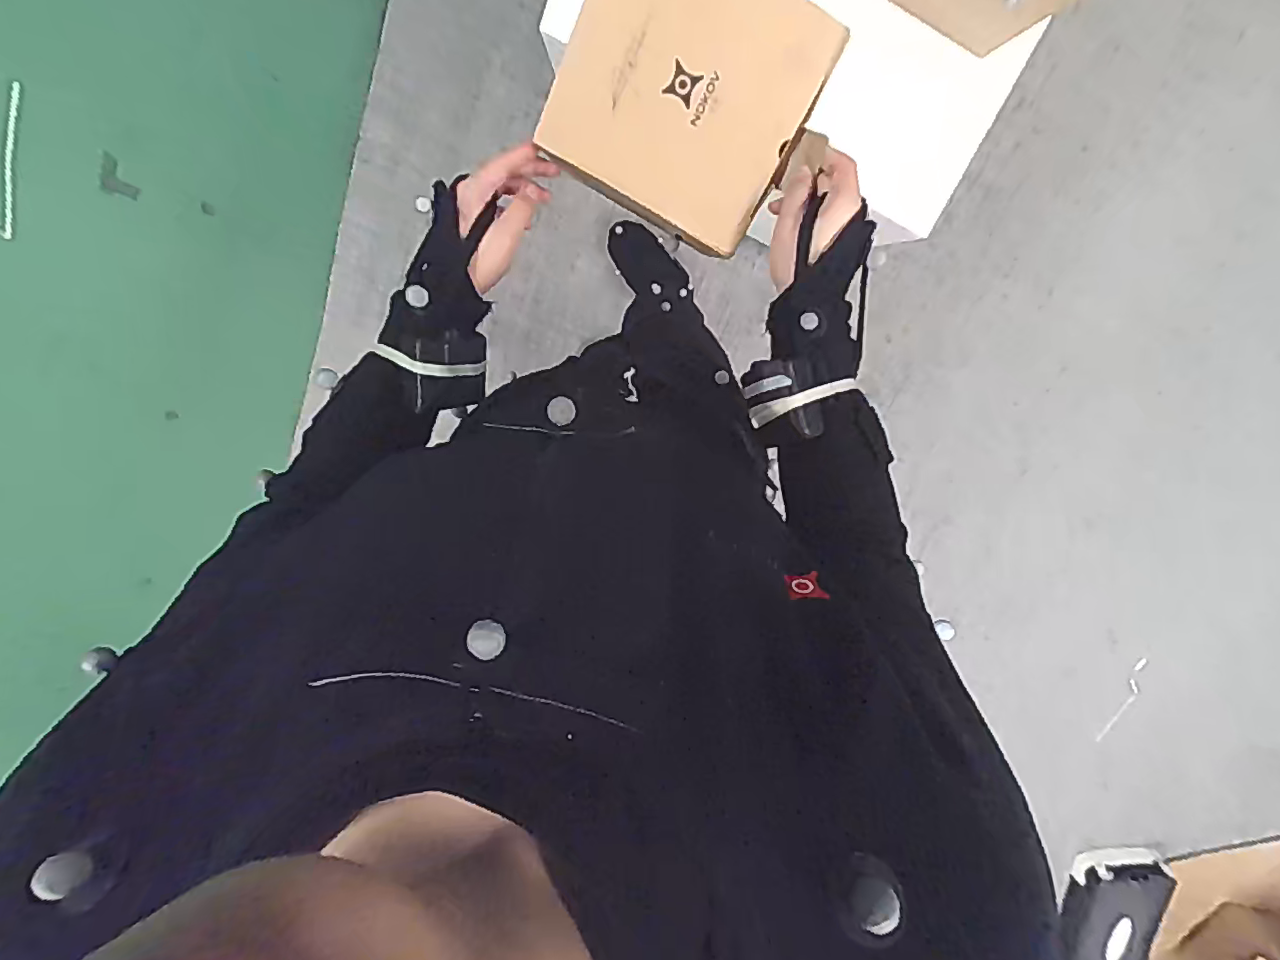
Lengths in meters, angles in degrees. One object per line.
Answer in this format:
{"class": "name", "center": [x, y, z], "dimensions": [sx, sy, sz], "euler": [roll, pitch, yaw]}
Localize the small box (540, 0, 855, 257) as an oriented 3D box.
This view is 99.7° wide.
{"class": "small box", "center": [0.038, -0.310, 0.460], "dimensions": [0.179, 0.176, 0.168], "euler": [25, 109, -9]}
